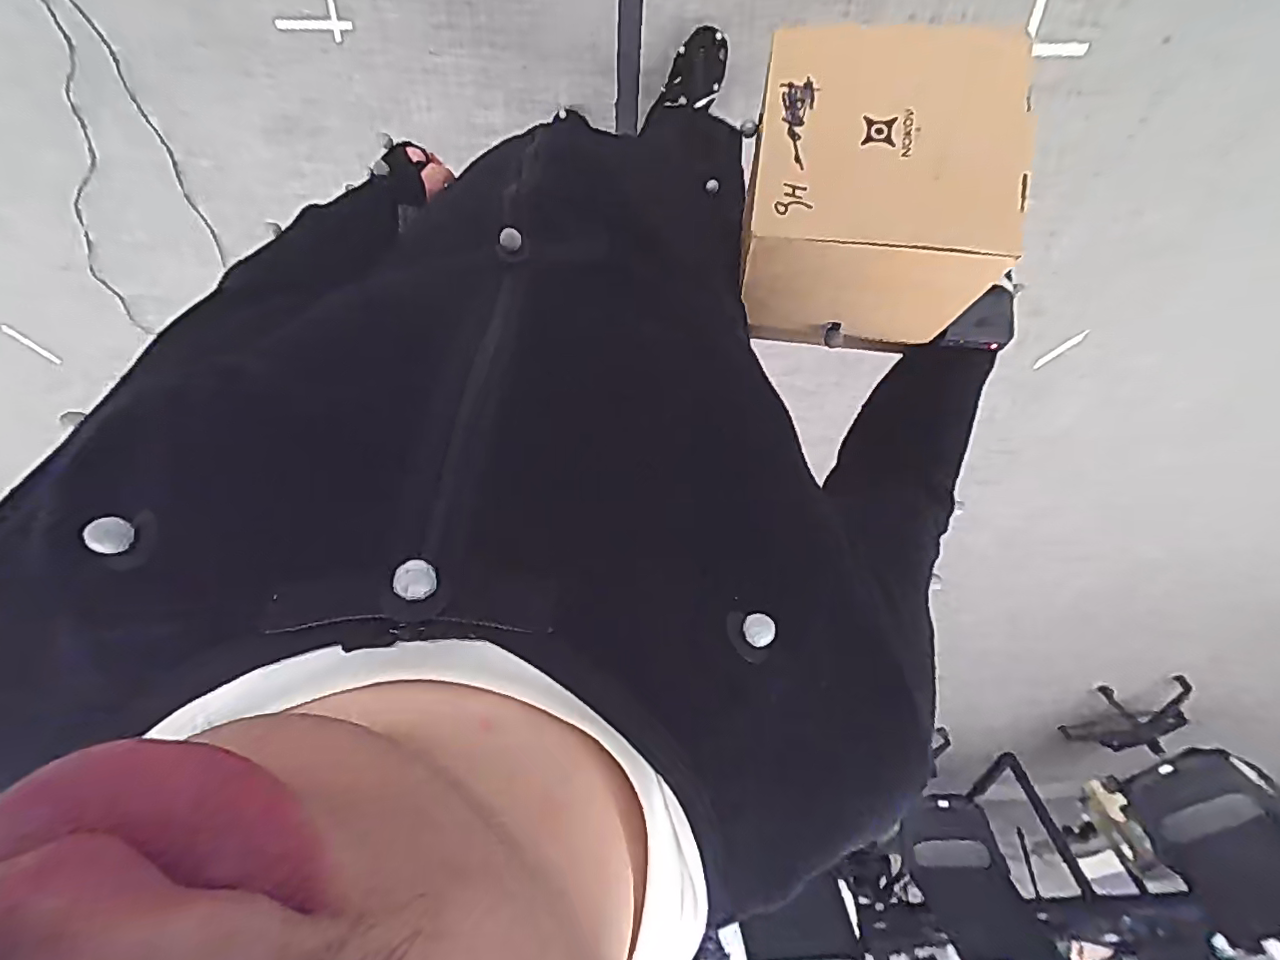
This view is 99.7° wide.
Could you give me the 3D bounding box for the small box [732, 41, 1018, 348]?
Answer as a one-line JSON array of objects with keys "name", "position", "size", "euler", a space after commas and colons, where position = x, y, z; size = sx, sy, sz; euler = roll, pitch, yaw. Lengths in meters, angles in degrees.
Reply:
[{"name": "small box", "position": [0.182, -0.225, 0.466], "size": [0.179, 0.168, 0.176], "euler": [7, 171, 6]}]
